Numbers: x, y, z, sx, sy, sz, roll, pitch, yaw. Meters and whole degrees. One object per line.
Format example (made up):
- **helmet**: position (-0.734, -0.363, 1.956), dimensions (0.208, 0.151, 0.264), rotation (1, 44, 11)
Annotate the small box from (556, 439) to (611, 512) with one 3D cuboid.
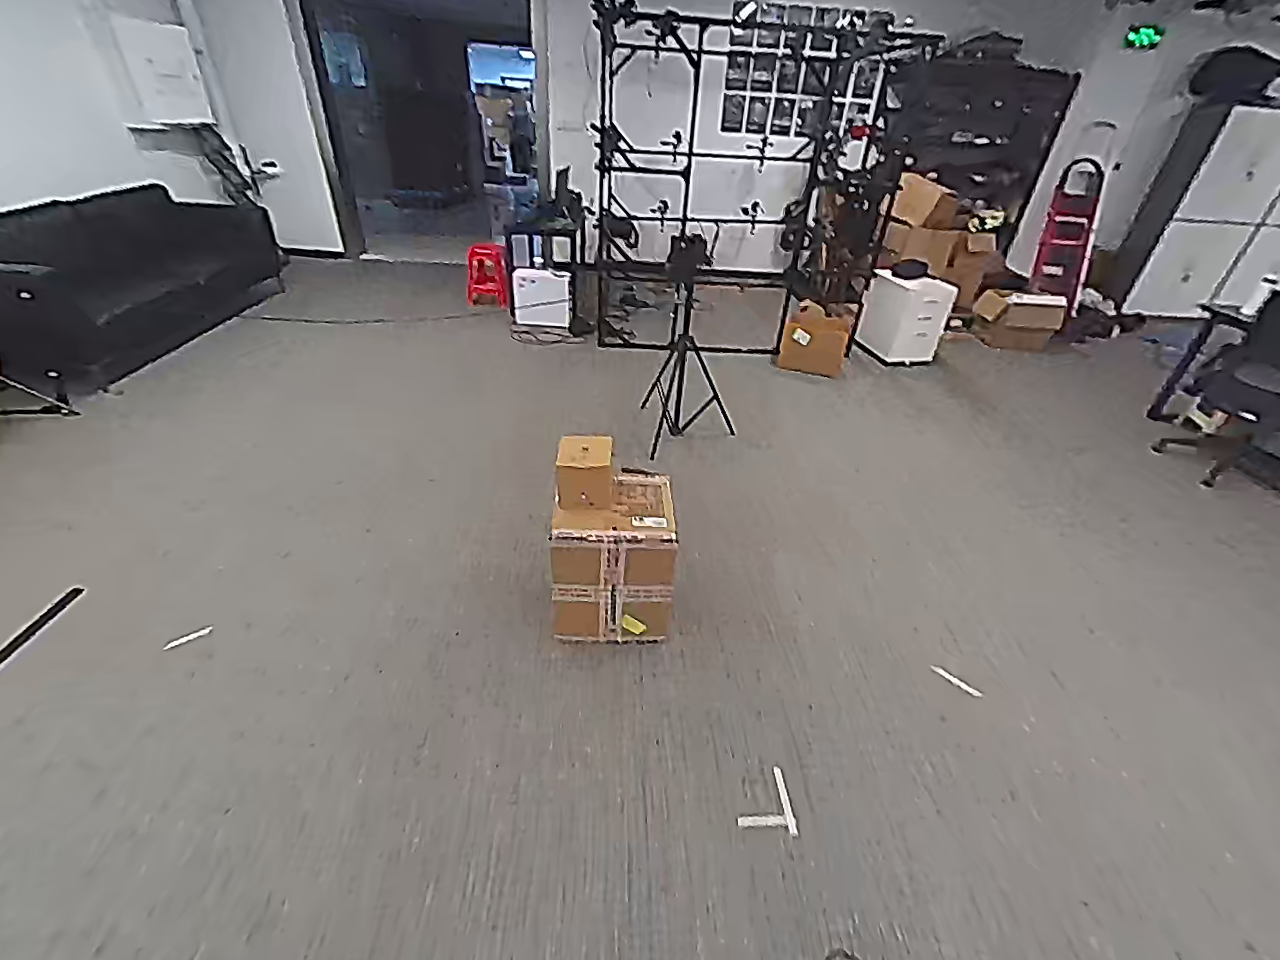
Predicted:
- **small box**: position (-0.179, -0.016, 1.757), dimensions (0.168, 0.176, 0.179), rotation (1, 36, -1)
